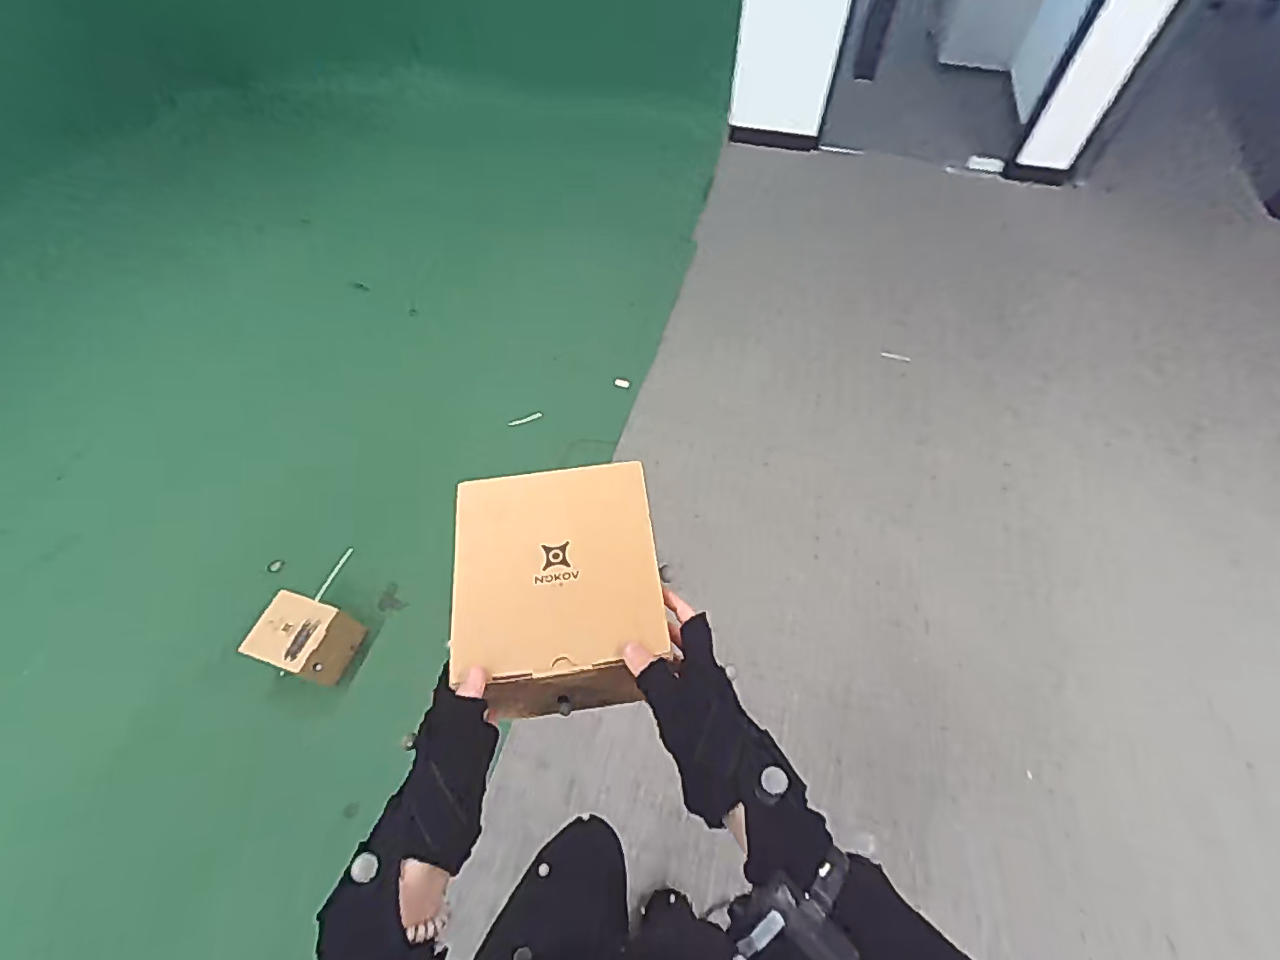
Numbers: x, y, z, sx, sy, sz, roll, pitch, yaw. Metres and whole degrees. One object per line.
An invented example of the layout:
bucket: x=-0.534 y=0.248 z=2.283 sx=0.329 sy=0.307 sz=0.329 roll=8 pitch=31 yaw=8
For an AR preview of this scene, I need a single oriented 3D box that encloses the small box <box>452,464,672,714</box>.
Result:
small box: x=-0.068 y=0.108 z=0.511 sx=0.168 sy=0.176 sz=0.179 roll=-7 pitch=60 yaw=-4
